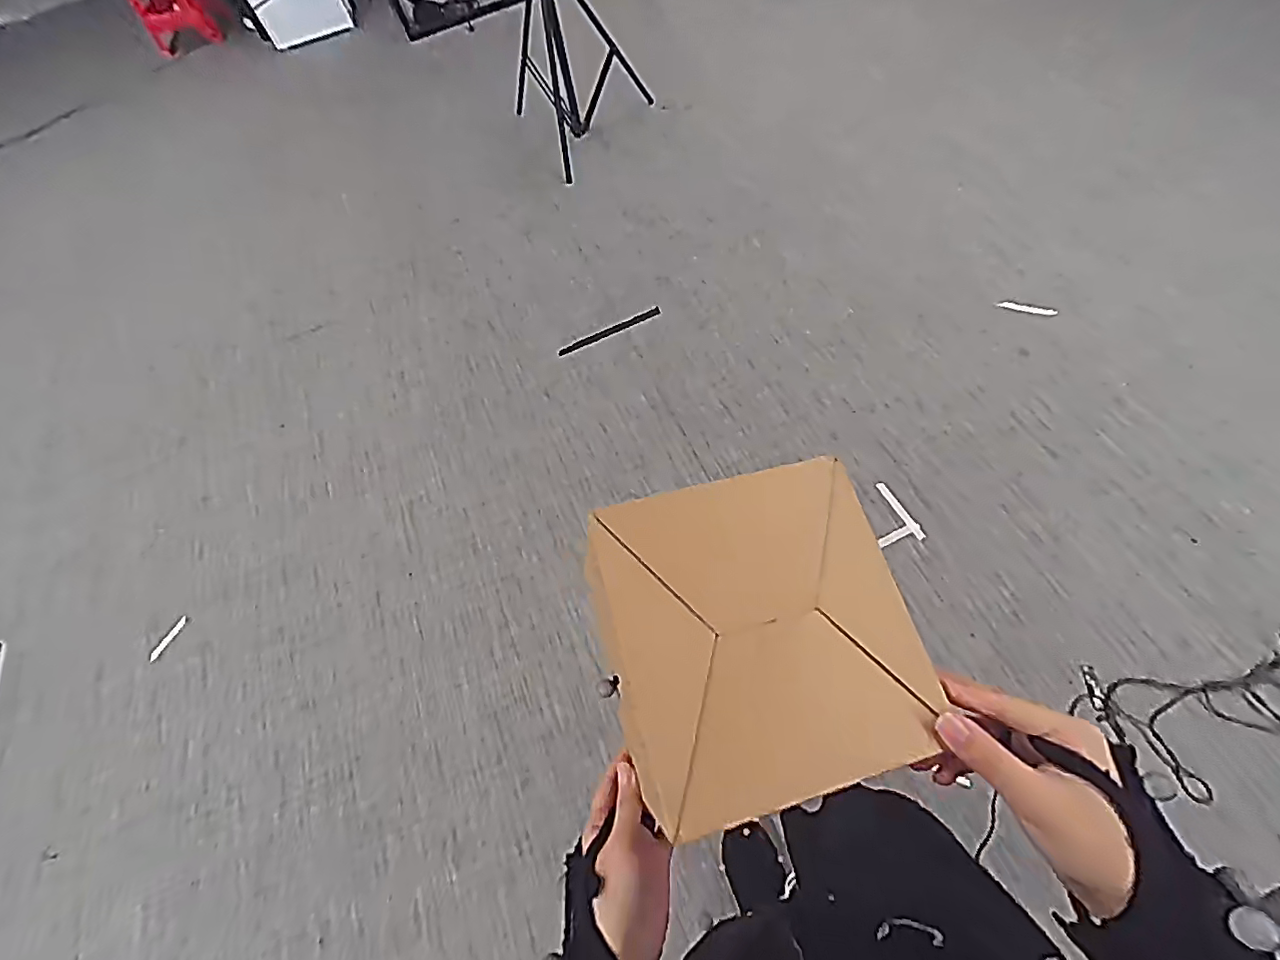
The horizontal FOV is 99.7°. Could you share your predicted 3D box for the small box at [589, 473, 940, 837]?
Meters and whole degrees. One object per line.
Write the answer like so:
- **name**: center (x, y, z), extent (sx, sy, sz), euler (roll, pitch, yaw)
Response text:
- **small box**: center (0.066, 0.113, 0.378), extent (0.168, 0.176, 0.179), euler (-12, 69, -11)
